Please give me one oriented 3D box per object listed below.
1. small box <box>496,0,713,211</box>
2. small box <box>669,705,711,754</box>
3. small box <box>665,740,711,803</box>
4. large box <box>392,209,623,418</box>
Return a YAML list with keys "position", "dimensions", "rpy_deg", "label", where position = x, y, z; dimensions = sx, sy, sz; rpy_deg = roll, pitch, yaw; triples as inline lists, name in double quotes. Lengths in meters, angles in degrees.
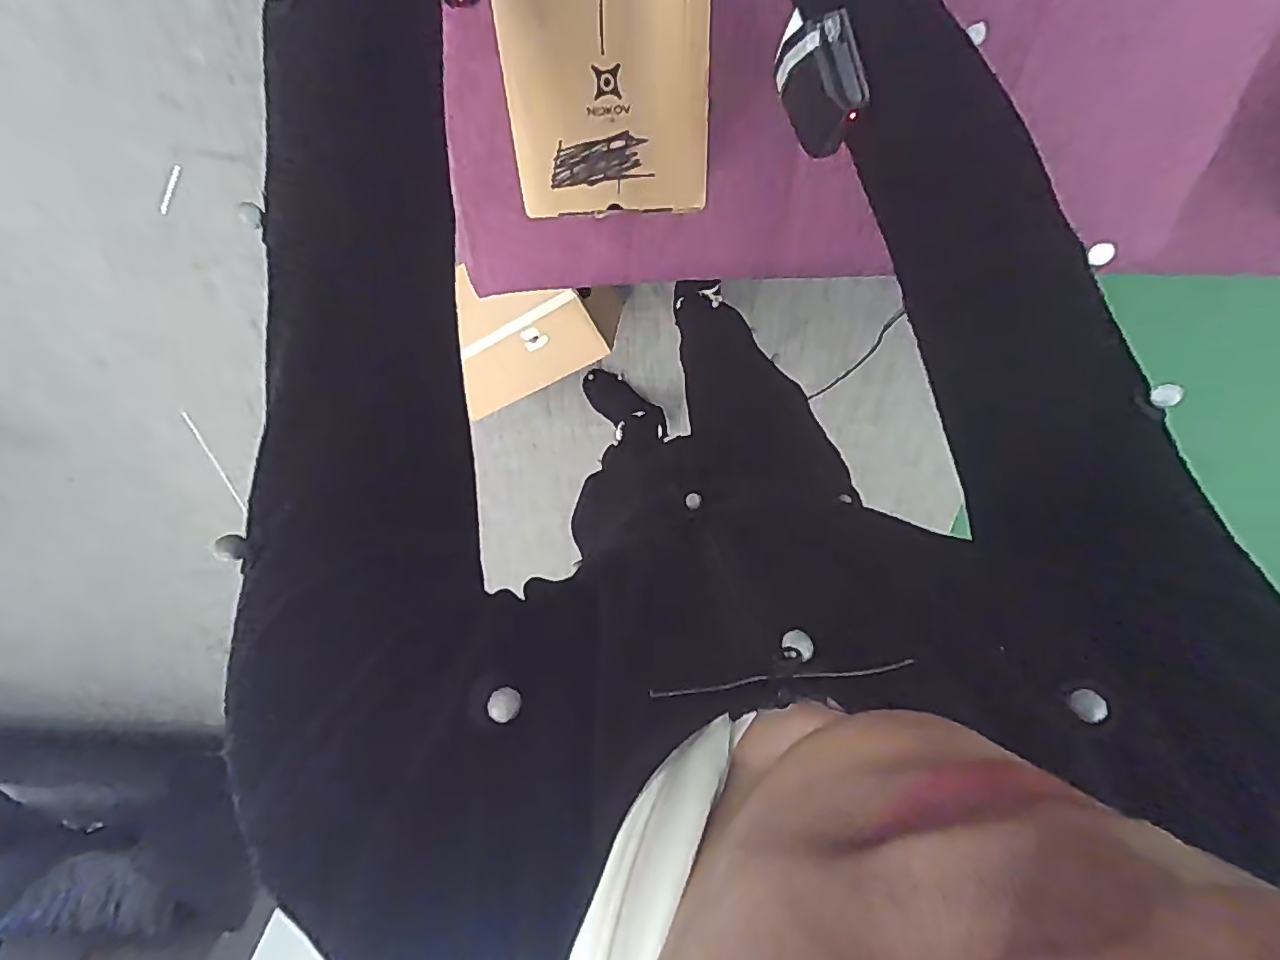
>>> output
- position: [-0.020, -0.361, 0.498]
  dimensions: [0.168, 0.176, 0.179]
  rpy_deg: [-1, 125, 4]
  label: "small box"
- position: [0.227, 1.152, 2.451]
  dimensions: [0.168, 0.176, 0.179]
  rpy_deg: [8, 126, 3]
  label: "small box"
- position: [0.208, 1.251, 2.323]
  dimensions: [0.168, 0.176, 0.179]
  rpy_deg: [10, 126, 0]
  label: "small box"
- position: [-0.294, -0.417, 1.305]
  dimensions: [0.408, 0.320, 0.320]
  rpy_deg: [-23, 122, 19]
  label: "large box"
